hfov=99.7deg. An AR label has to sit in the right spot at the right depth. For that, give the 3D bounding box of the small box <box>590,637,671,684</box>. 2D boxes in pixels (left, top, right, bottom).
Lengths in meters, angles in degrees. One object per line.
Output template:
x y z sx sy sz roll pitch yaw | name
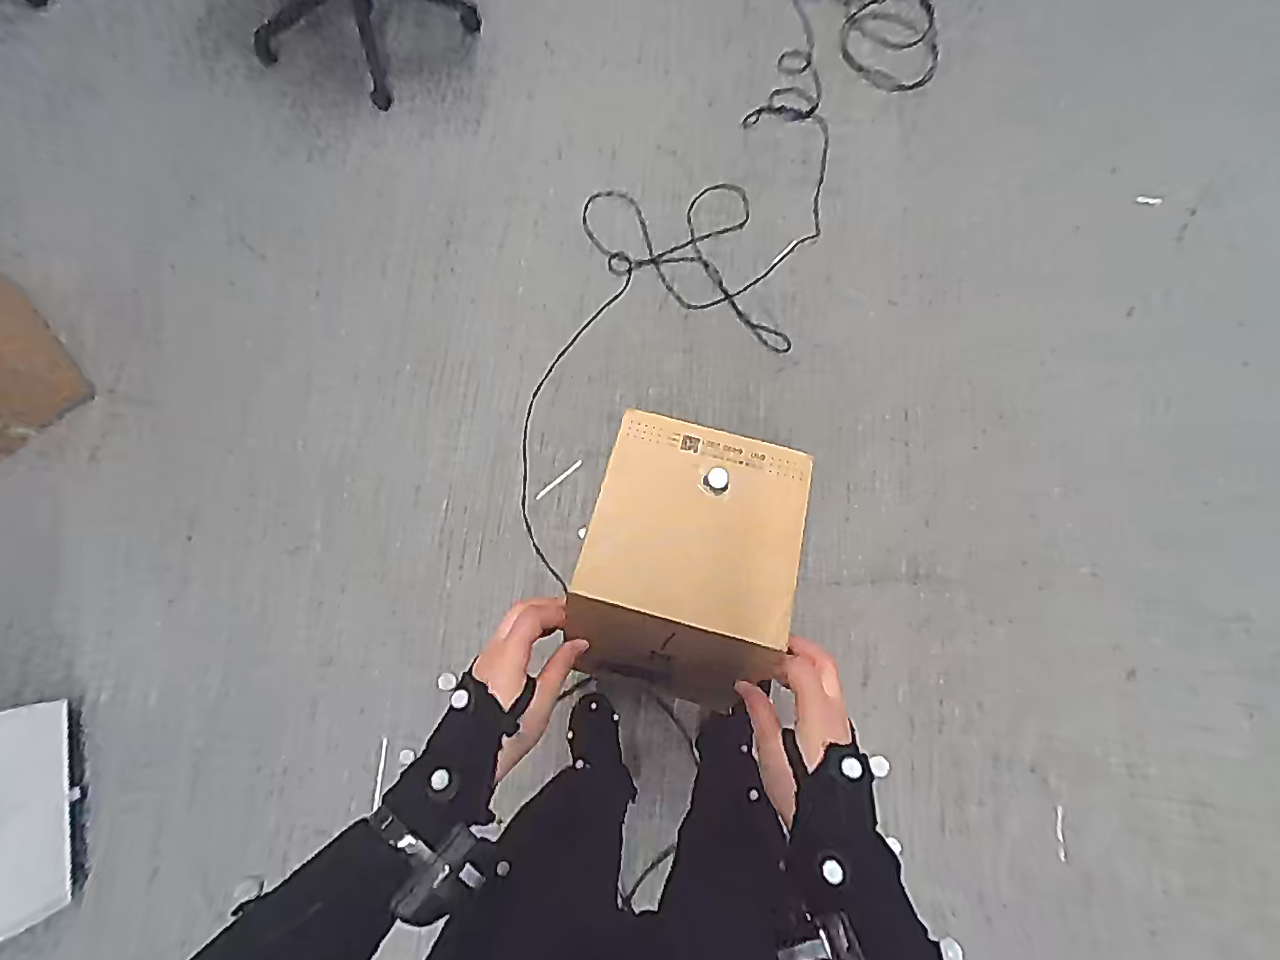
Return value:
-0.012 0.337 1.193 0.168 0.176 0.179 7 77 -1 | small box

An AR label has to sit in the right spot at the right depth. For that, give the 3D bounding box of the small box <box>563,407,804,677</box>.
0.038 0.063 0.490 0.168 0.179 0.176 15 64 3 | small box
